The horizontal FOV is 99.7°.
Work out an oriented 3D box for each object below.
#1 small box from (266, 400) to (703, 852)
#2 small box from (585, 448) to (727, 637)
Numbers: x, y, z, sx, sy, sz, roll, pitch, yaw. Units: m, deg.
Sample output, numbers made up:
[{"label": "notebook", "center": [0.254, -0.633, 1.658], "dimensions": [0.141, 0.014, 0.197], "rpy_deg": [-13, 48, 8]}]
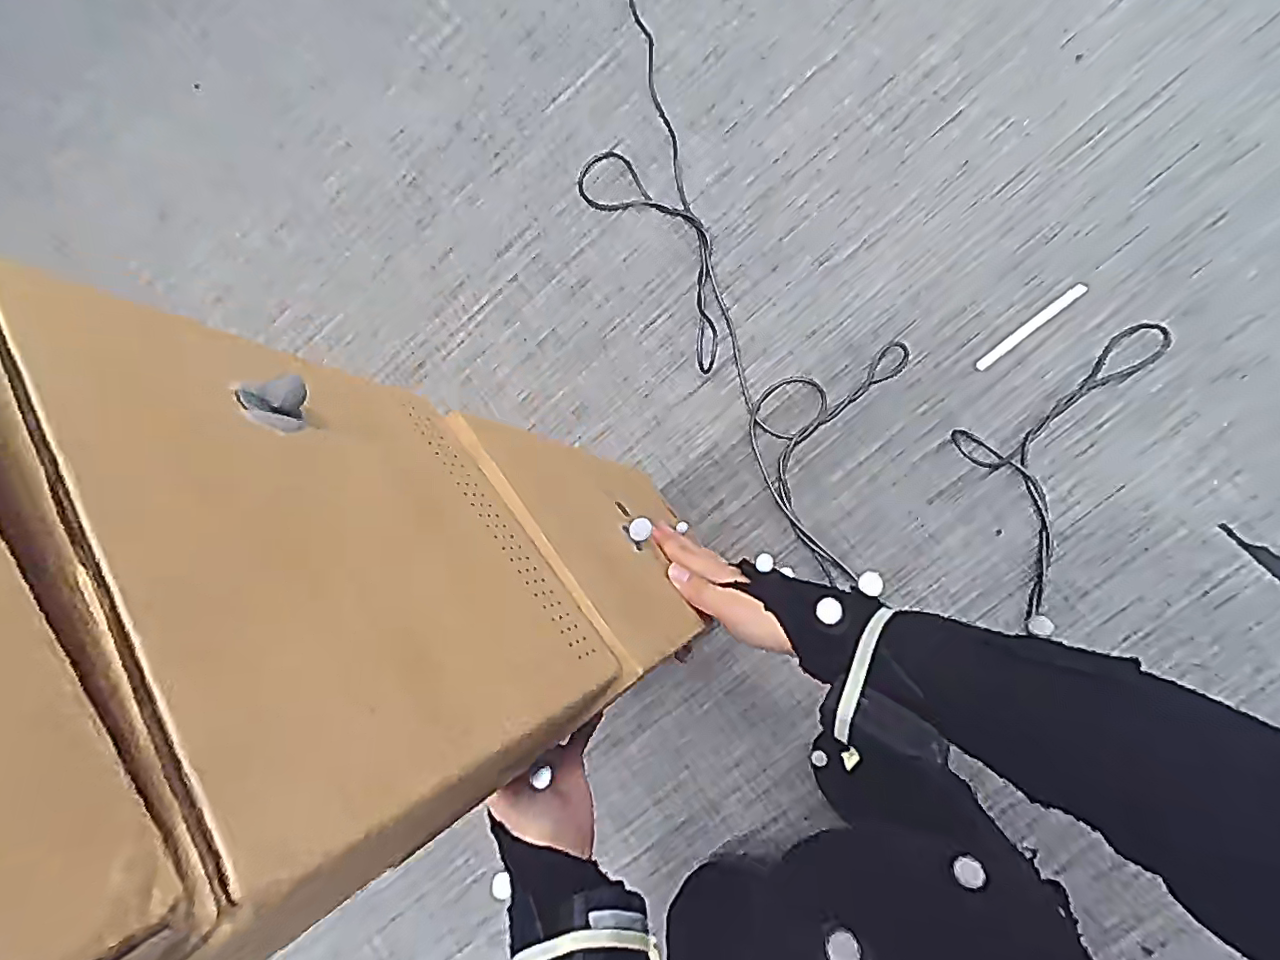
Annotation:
[{"label": "small box", "center": [-0.082, 0.081, 0.352], "dimensions": [0.179, 0.176, 0.168], "rpy_deg": [-41, 74, 10]}, {"label": "small box", "center": [-0.034, 0.095, 0.508], "dimensions": [0.179, 0.176, 0.168], "rpy_deg": [-42, 73, 11]}]
